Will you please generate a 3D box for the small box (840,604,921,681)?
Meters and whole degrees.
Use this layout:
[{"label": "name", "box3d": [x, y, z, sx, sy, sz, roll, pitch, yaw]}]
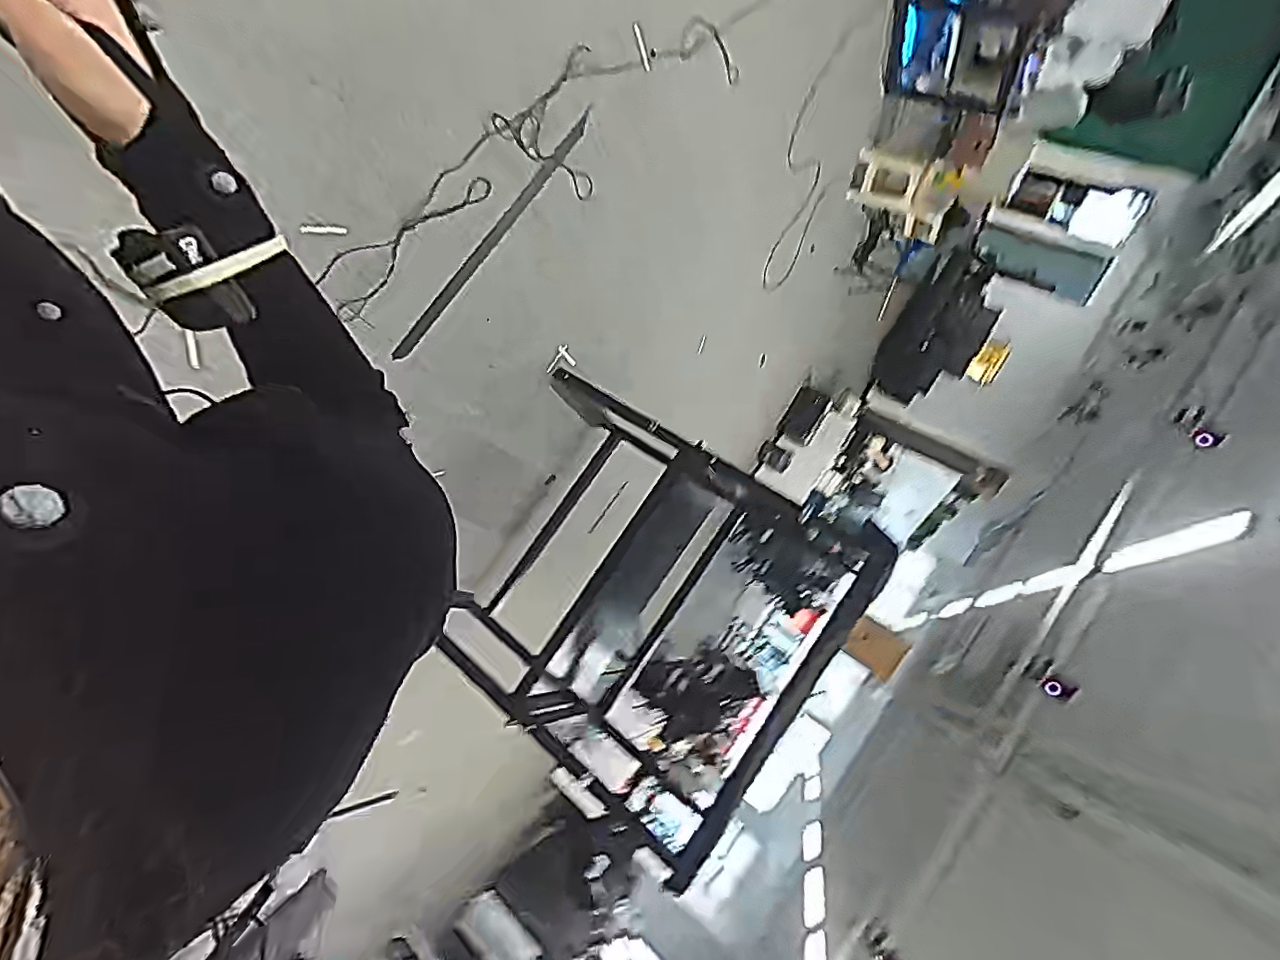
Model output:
[{"label": "small box", "box3d": [0.758, 0.514, 1.726, 0.168, 0.176, 0.179, -55, 157, -3]}]
